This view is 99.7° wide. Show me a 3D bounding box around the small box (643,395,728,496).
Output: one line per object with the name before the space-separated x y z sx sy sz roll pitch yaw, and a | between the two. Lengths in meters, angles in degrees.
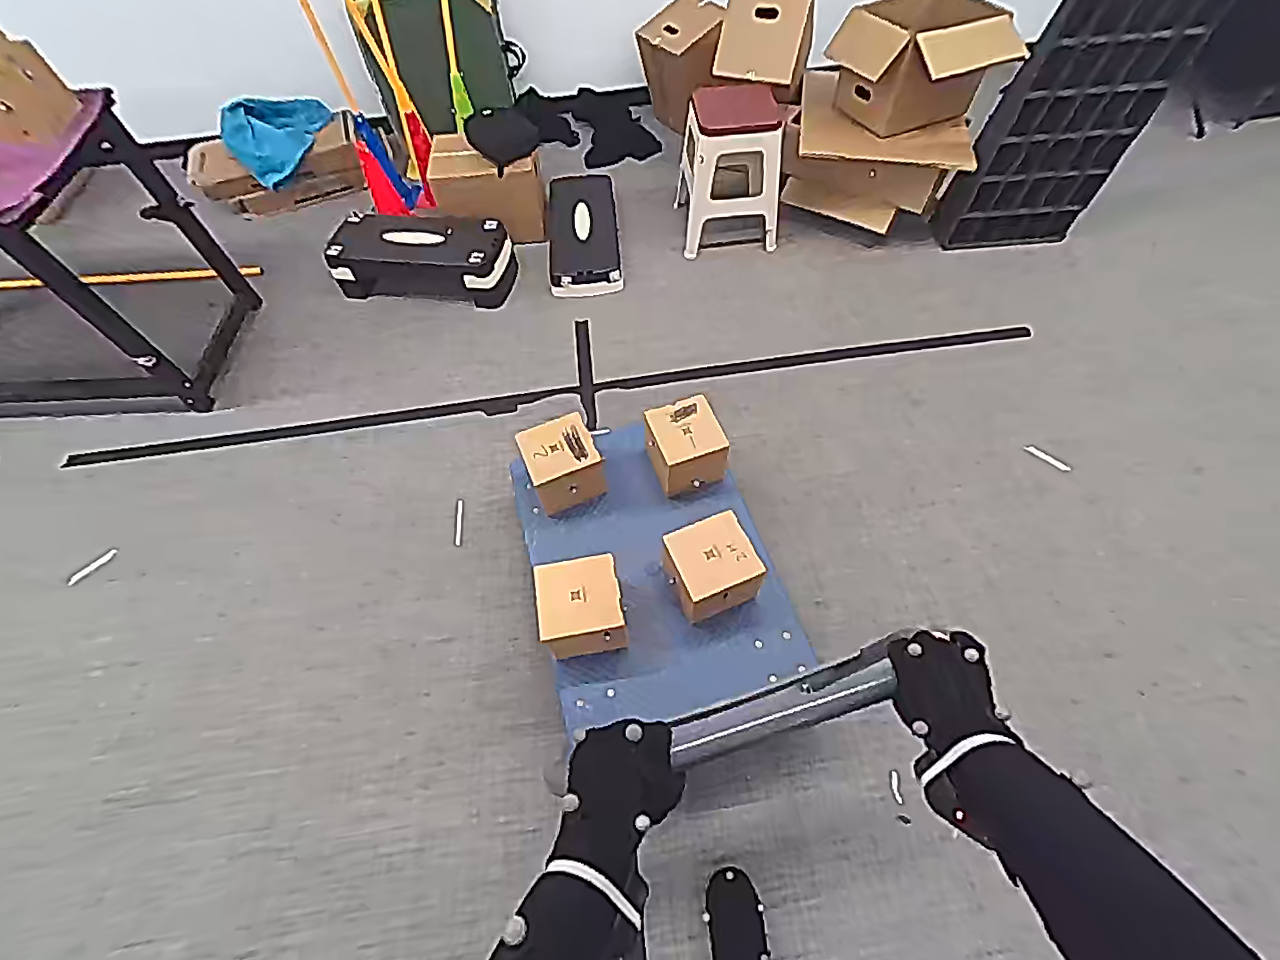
small box | 0.113 -0.086 1.408 0.168 0.176 0.179 -19 61 -8

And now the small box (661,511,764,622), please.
small box | 0.160 0.202 1.236 0.179 0.176 0.168 -21 61 -9

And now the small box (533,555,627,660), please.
small box | -0.130 0.287 1.199 0.179 0.176 0.168 -10 59 -5
